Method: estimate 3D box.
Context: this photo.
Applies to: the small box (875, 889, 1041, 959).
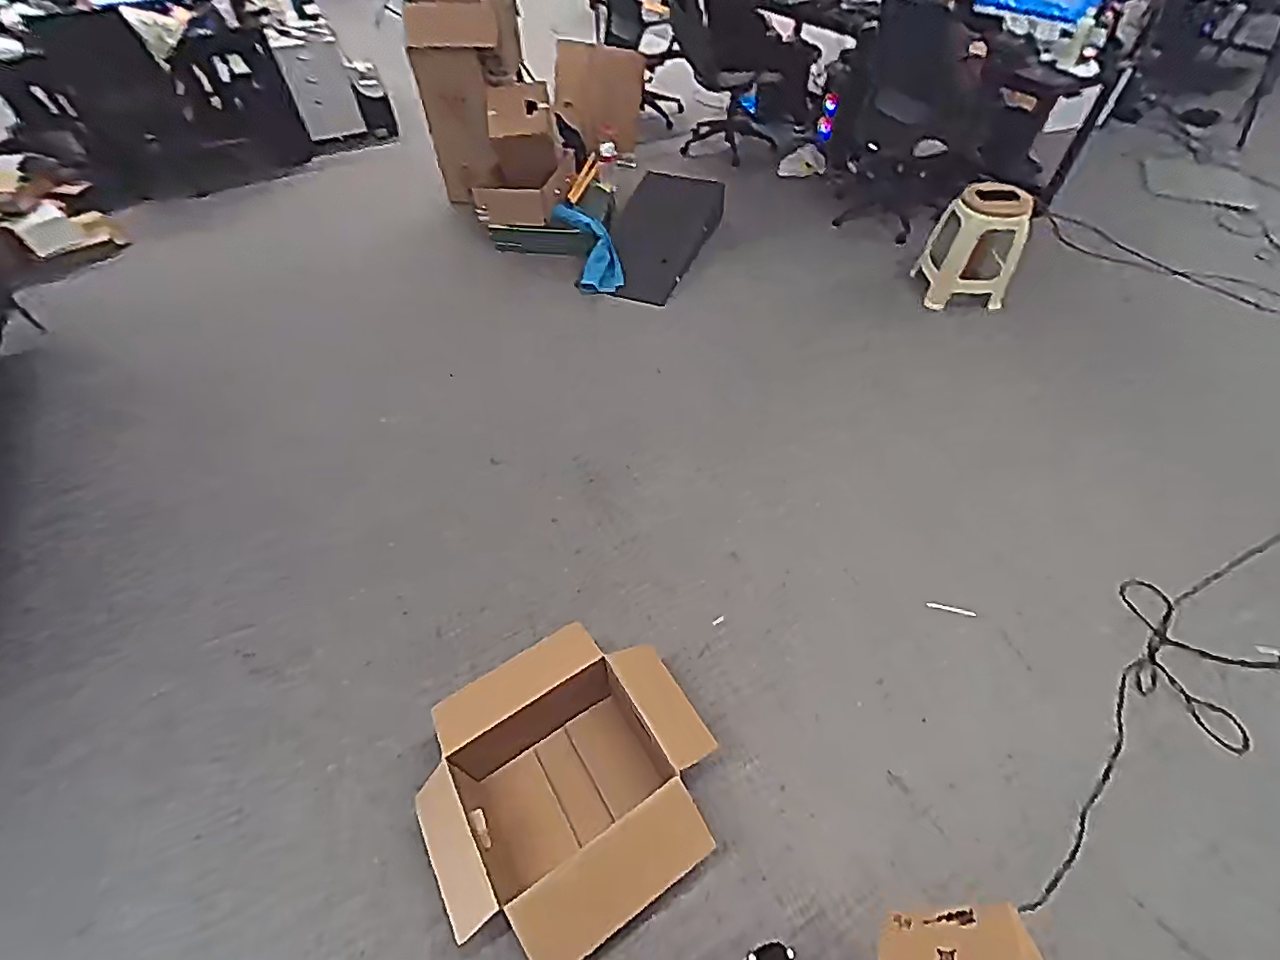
[{"bbox_3d":[0.396,0.632,0.635,0.179,0.168,0.176,-16,80,-60],"label":"small box"}]
